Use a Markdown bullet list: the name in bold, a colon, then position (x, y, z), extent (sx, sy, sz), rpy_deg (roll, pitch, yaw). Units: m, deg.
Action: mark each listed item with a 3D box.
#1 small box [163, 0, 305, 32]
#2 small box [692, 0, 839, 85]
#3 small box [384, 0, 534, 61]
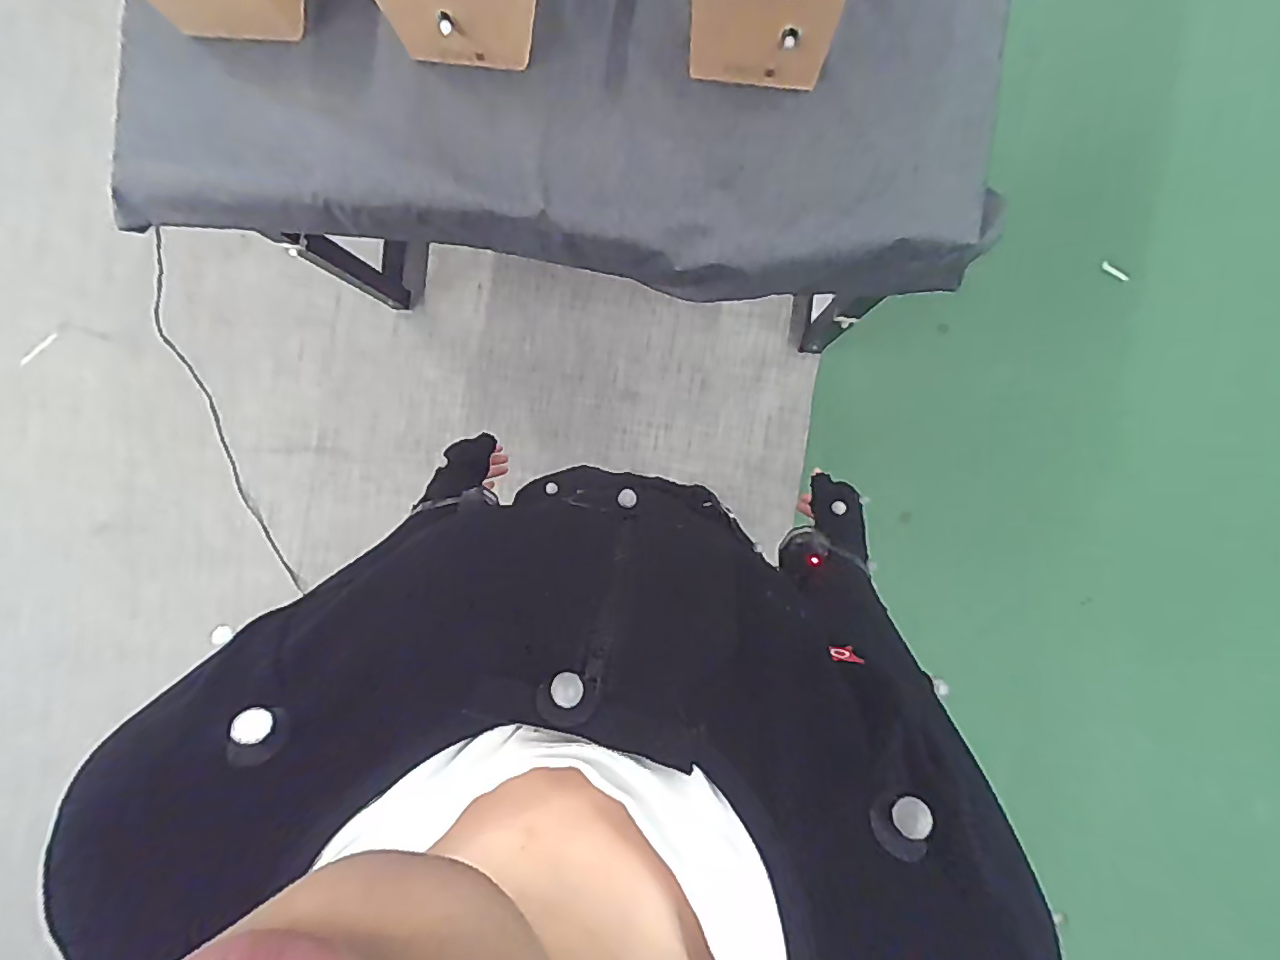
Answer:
- **small box**: position (-0.552, -0.708, 0.675), extent (0.179, 0.176, 0.168), rpy_deg (5, 92, 2)
- **small box**: position (0.154, -0.611, 0.635), extent (0.168, 0.176, 0.179), rpy_deg (9, 91, 3)
- **small box**: position (-0.225, -0.658, 0.657), extent (0.168, 0.176, 0.179), rpy_deg (8, 92, 3)
